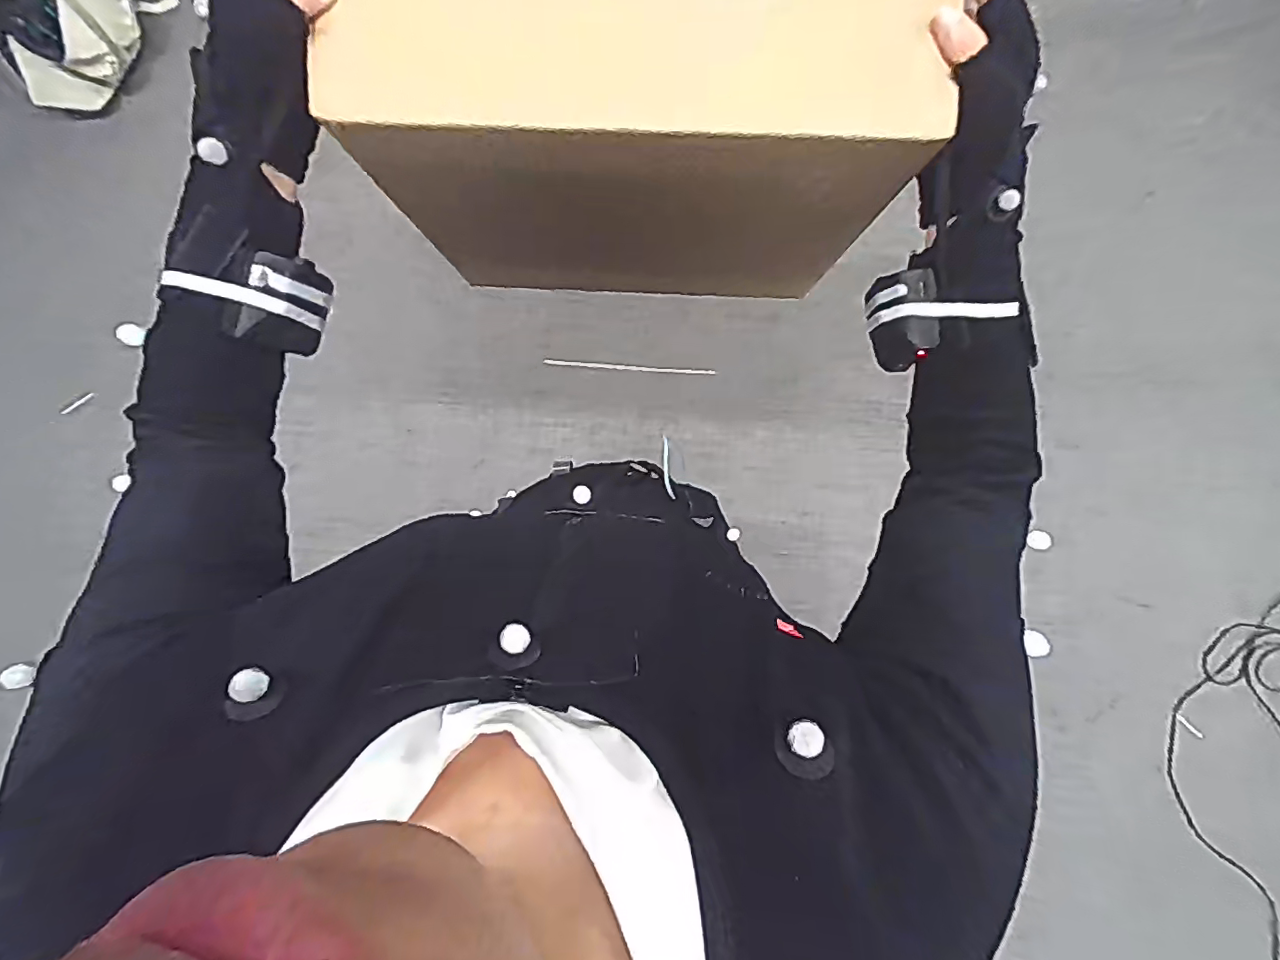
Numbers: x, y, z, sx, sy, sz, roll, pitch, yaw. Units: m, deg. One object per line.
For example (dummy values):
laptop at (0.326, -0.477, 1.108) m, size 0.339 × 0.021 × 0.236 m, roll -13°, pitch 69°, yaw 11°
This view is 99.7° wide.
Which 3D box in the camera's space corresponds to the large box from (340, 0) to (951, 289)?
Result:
large box at (0.003, -0.382, 0.499) m, size 0.408 × 0.320 × 0.320 m, roll 2°, pitch 91°, yaw -1°
